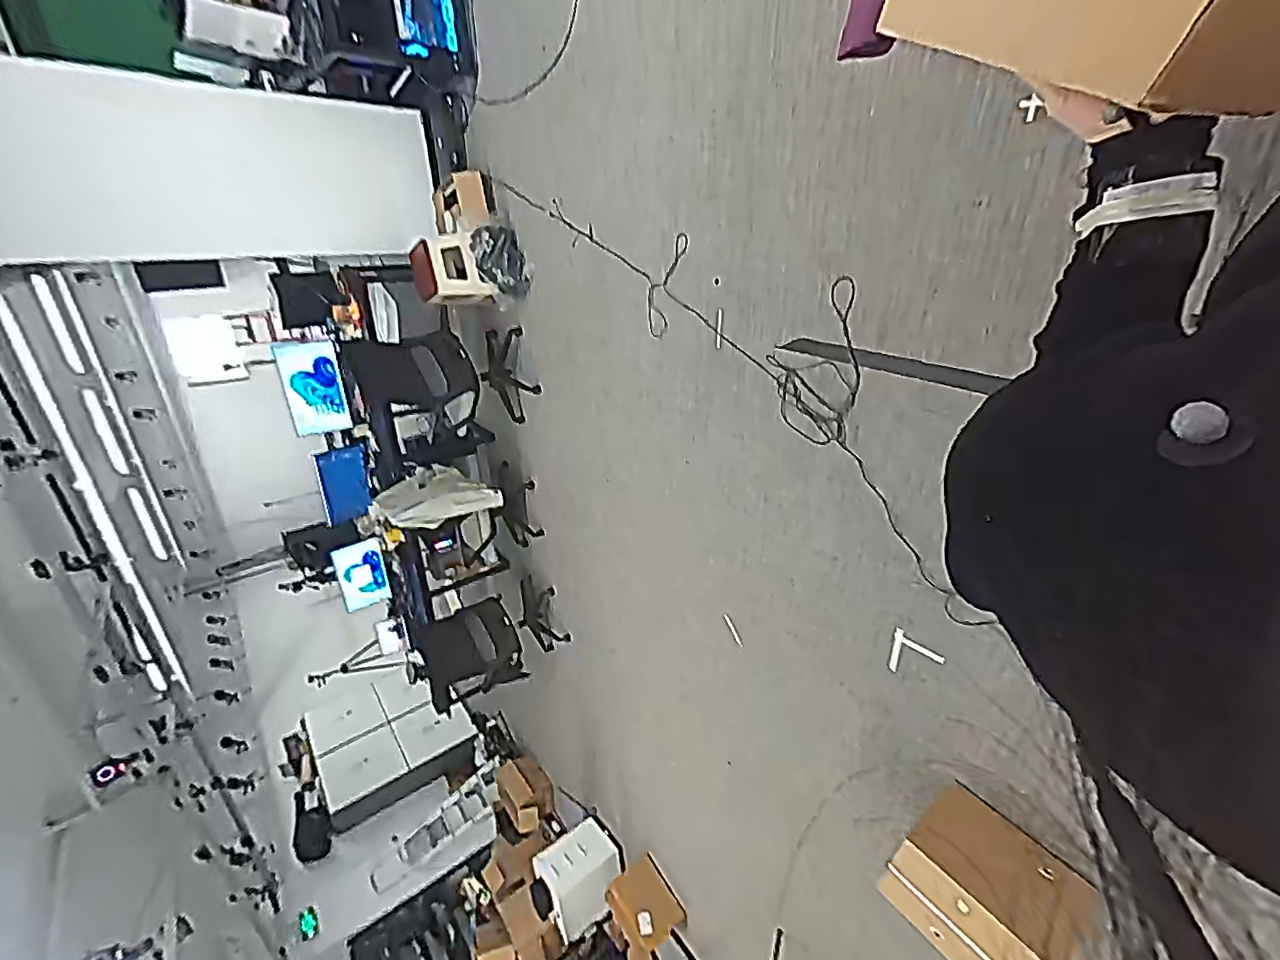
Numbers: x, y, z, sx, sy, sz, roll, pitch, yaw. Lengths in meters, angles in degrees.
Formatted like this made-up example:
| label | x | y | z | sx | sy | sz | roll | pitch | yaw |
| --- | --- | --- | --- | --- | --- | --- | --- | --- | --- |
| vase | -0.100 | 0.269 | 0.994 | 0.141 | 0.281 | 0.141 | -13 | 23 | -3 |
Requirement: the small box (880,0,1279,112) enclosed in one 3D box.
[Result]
| label | x | y | z | sx | sy | sz | roll | pitch | yaw |
| --- | --- | --- | --- | --- | --- | --- | --- | --- | --- |
| small box | 0.276 | -0.310 | 0.278 | 0.179 | 0.176 | 0.168 | 56 | 150 | 35 |
